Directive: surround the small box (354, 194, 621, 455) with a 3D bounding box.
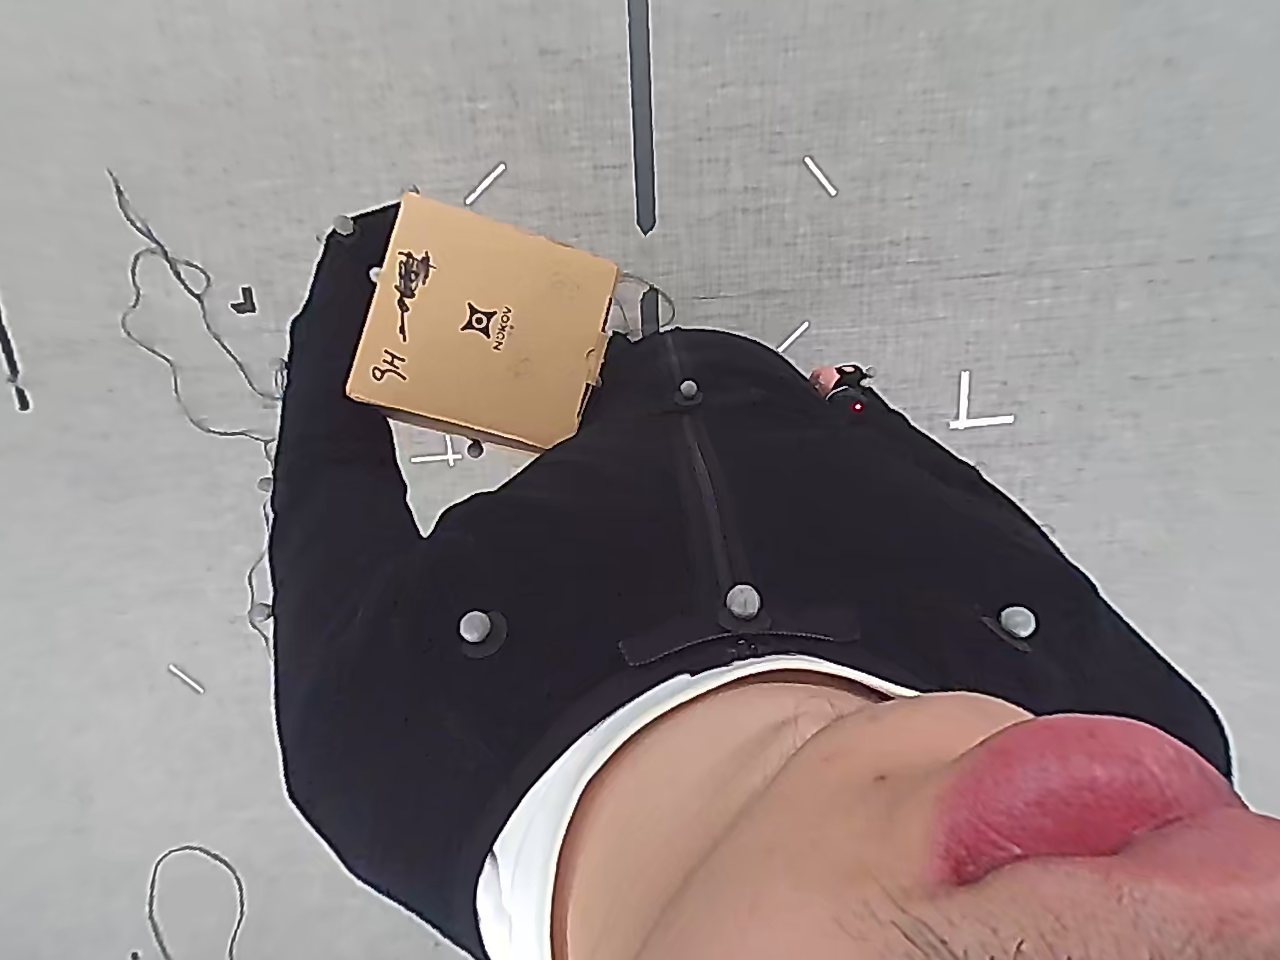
[{"bbox_3d":[-0.134,-0.123,0.510,0.179,0.176,0.168,15,86,-12],"label":"small box"}]
